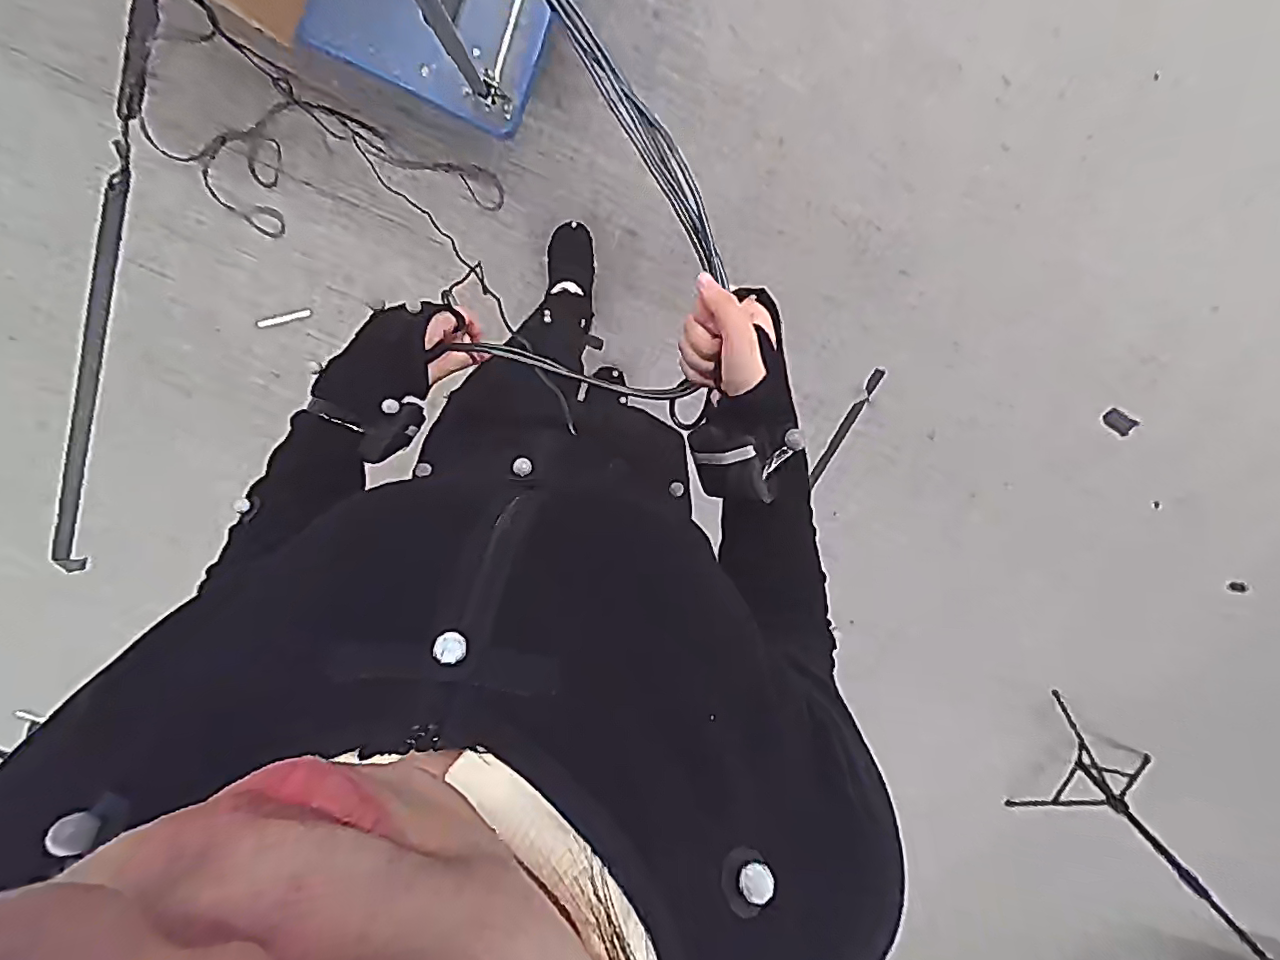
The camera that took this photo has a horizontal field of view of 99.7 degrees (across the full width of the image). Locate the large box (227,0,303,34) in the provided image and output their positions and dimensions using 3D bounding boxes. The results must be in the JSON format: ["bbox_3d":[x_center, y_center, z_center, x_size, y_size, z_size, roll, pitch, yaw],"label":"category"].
[{"bbox_3d":[-0.748,-0.985,0.792,0.408,0.320,0.320,28,106,-10],"label":"large box"}]
